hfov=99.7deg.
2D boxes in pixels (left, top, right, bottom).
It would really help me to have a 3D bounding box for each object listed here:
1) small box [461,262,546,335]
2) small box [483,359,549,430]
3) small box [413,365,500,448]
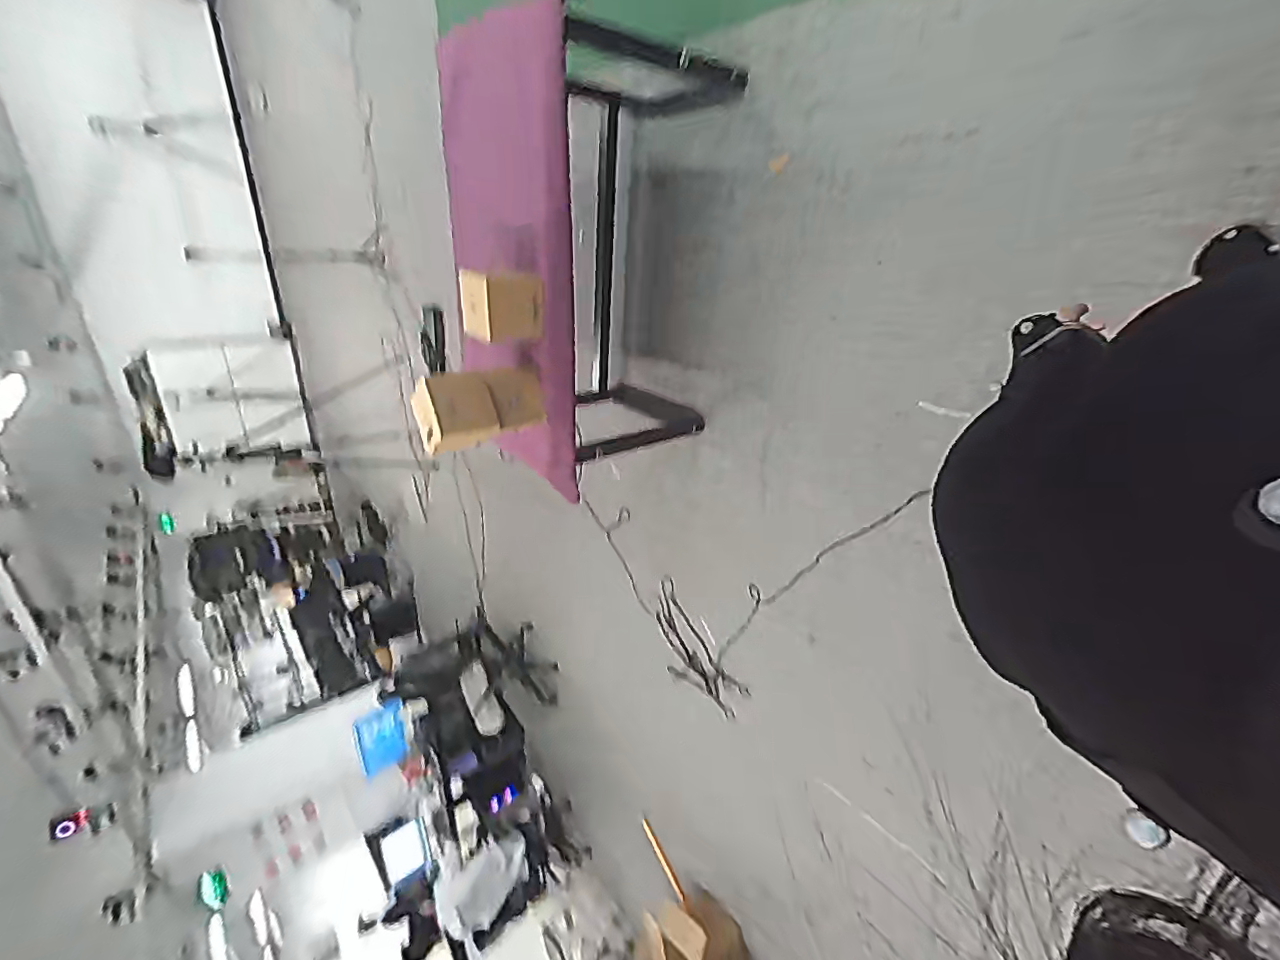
[{"bbox_3d":[-0.376,-0.506,1.497,0.179,0.176,0.168,31,128,42],"label":"small box"},{"bbox_3d":[-0.394,-0.254,1.620,0.168,0.176,0.179,-5,100,53],"label":"small box"},{"bbox_3d":[-0.510,-0.207,1.512,0.168,0.176,0.179,-25,83,53],"label":"small box"}]
